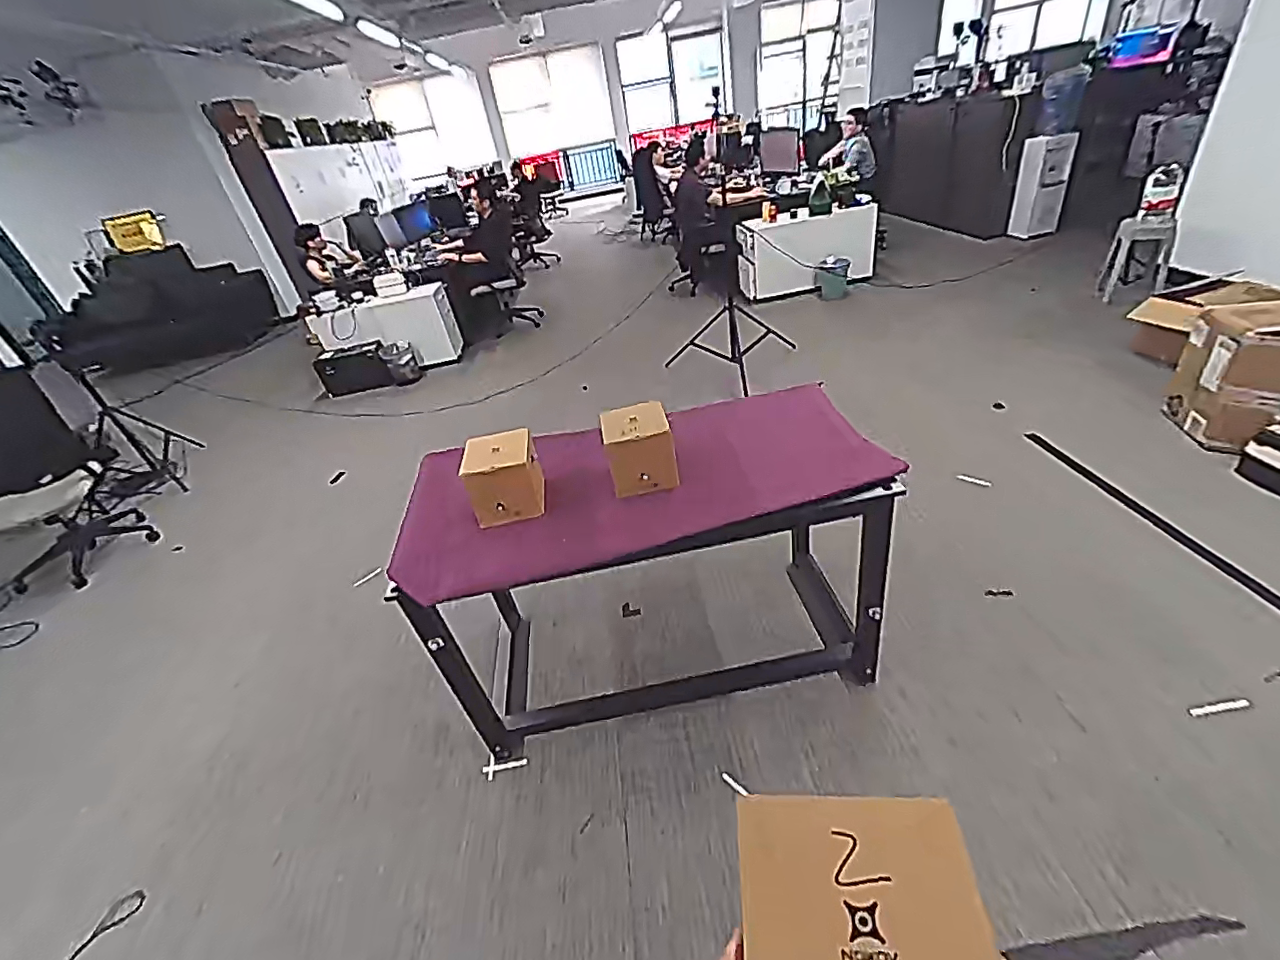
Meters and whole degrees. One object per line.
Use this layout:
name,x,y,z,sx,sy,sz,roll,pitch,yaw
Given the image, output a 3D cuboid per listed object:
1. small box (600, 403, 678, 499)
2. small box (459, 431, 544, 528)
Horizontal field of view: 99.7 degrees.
small box,-0.004,-0.076,1.403,0.168,0.176,0.179,-12,34,0
small box,-0.349,-0.001,1.397,0.168,0.176,0.179,-12,35,-2
